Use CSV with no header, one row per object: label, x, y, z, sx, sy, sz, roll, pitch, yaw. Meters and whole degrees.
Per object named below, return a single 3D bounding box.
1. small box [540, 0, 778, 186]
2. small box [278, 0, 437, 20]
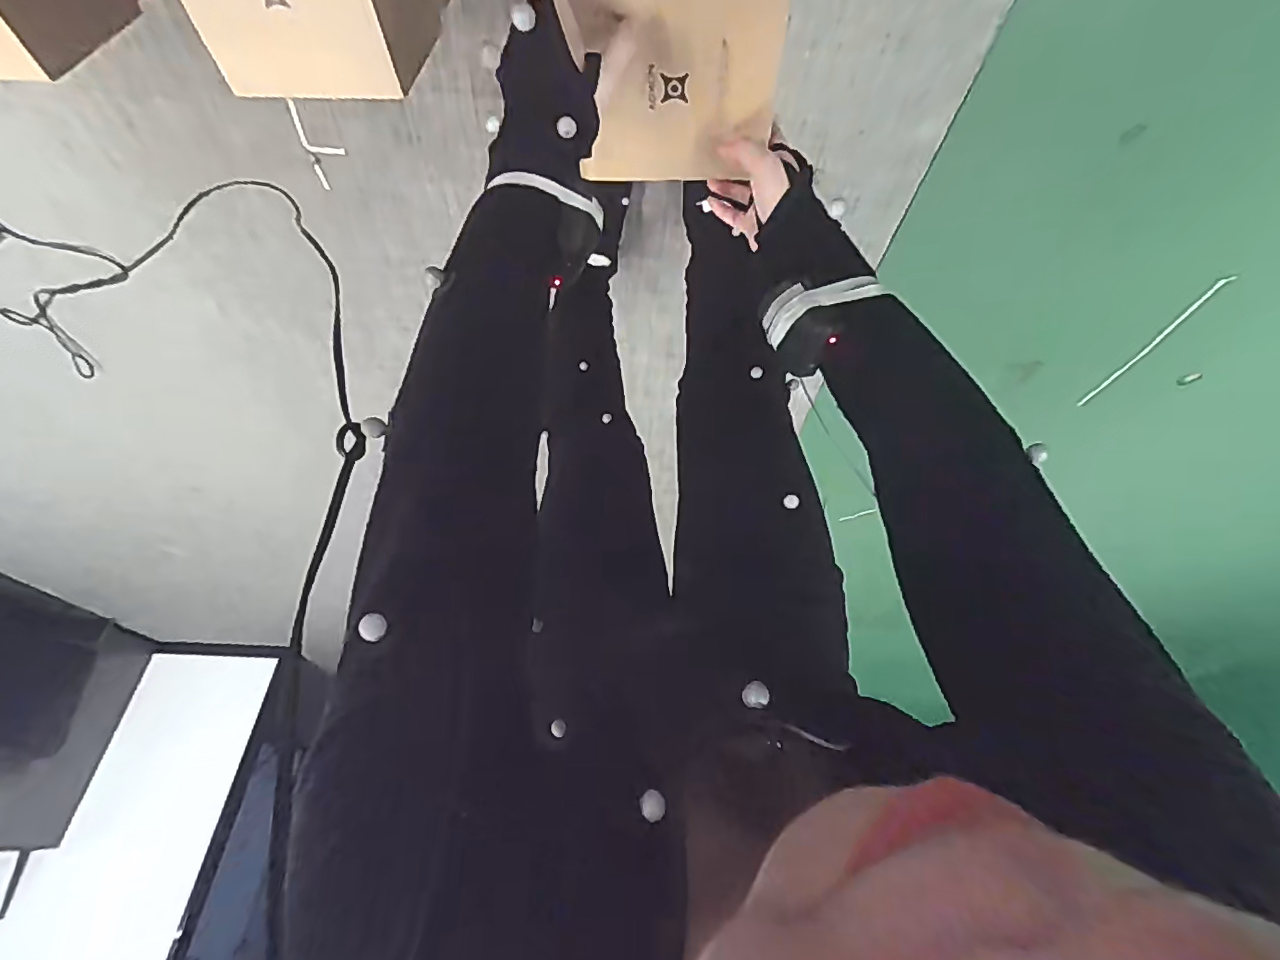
small box,0.023,-0.395,0.481,0.179,0.176,0.168,3,157,5
small box,-0.304,-0.627,0.575,0.179,0.176,0.168,2,148,-1
